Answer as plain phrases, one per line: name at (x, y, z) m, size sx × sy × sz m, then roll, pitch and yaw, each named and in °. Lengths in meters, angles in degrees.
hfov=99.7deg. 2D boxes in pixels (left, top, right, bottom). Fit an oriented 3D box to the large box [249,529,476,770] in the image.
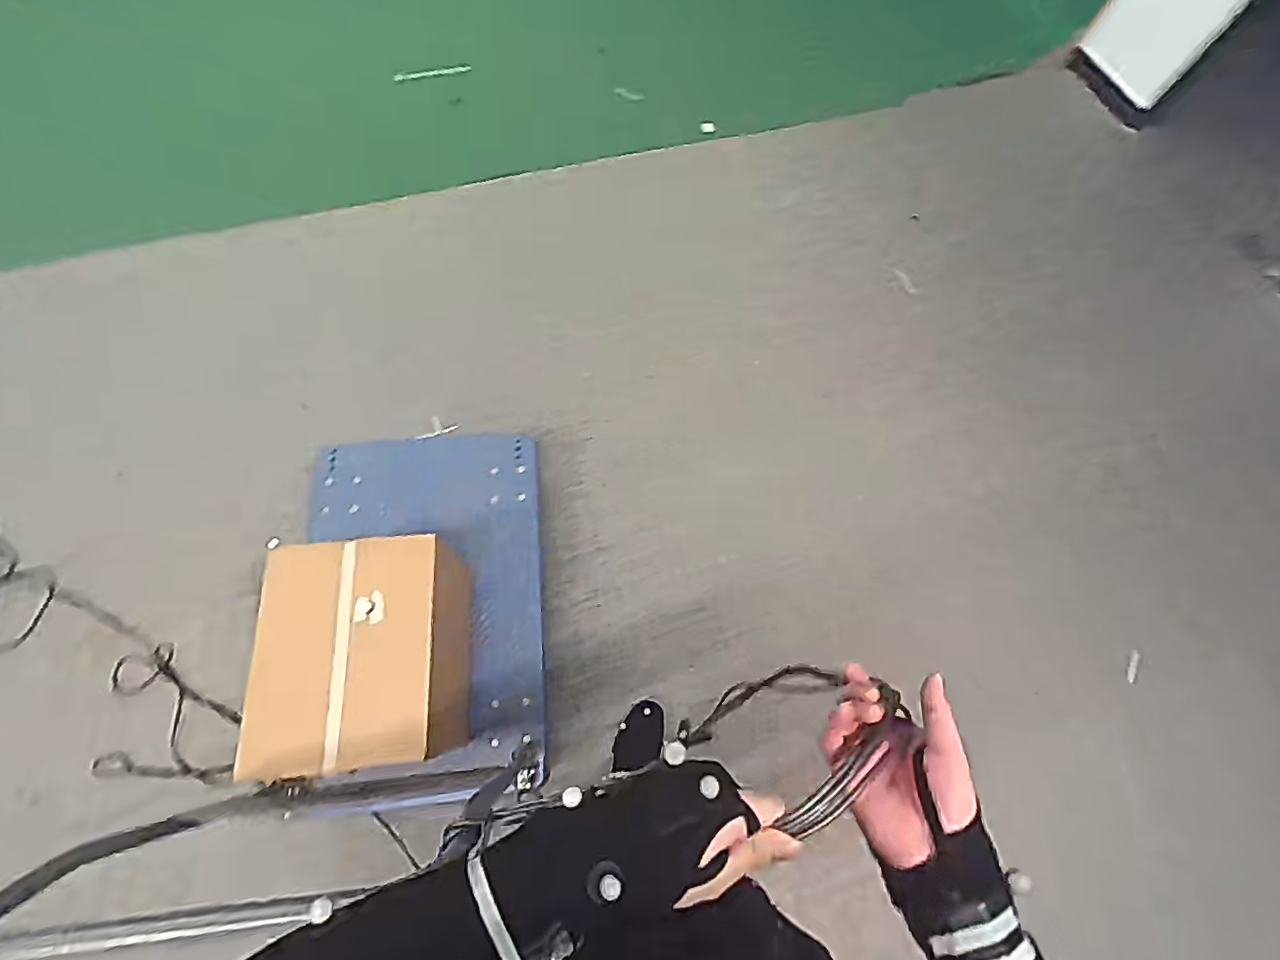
large box at (-0.532, 0.348, 1.124) m, size 0.320 × 0.320 × 0.408 m, roll -4°, pitch 68°, yaw -5°
